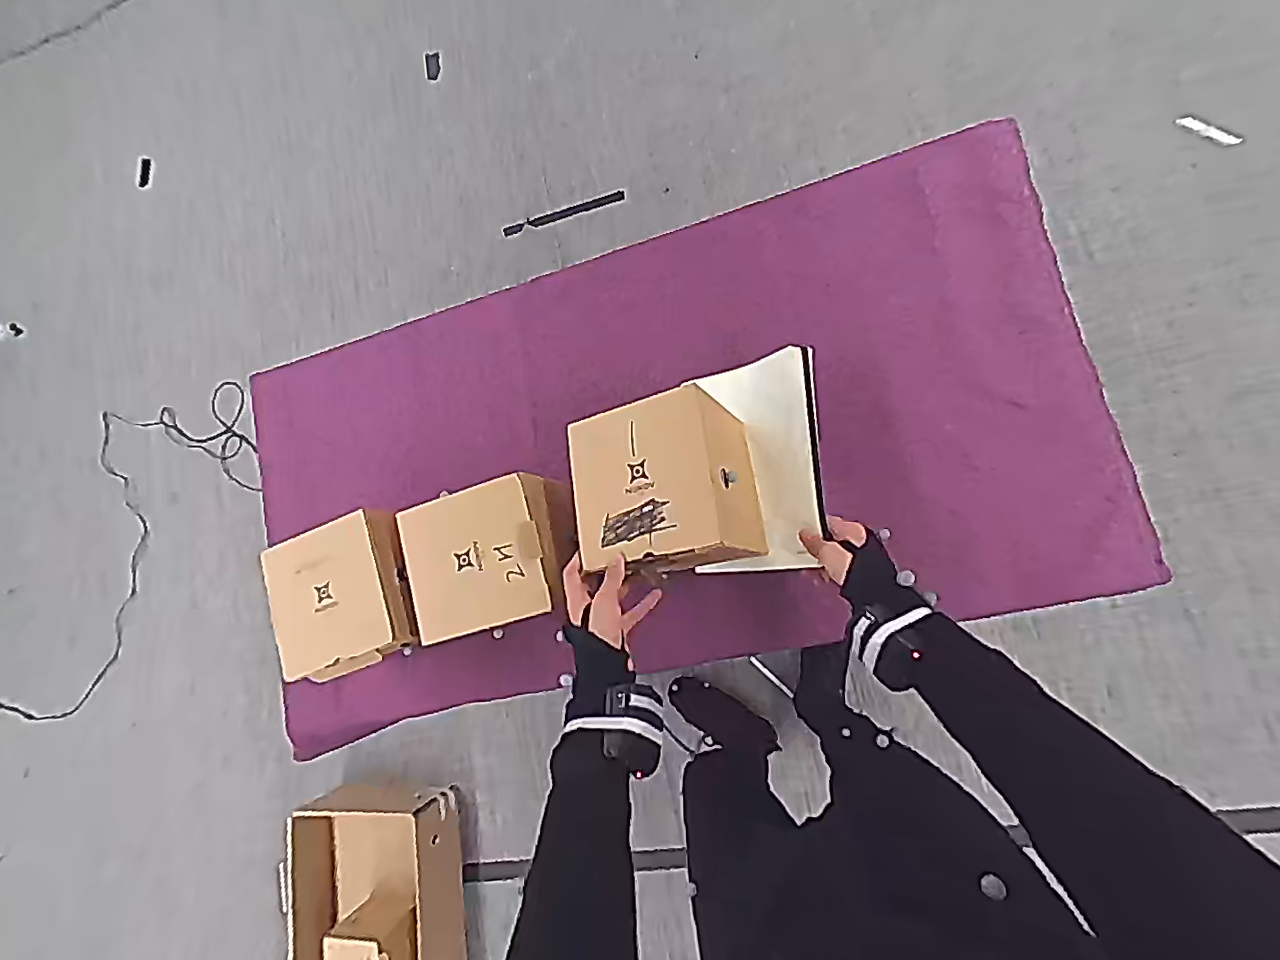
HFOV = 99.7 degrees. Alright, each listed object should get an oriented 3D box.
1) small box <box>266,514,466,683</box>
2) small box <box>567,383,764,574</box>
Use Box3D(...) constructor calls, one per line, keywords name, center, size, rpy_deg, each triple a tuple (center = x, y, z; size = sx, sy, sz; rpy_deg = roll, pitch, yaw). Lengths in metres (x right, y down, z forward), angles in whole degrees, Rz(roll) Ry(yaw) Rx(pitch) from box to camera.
Box3D(name="small box", center=(-0.371, 0.157, 0.757), size=(0.168, 0.176, 0.179), rpy_deg=(-22, 79, 10))
Box3D(name="small box", center=(0.036, 0.012, 0.644), size=(0.168, 0.176, 0.179), rpy_deg=(-16, 72, 26))
